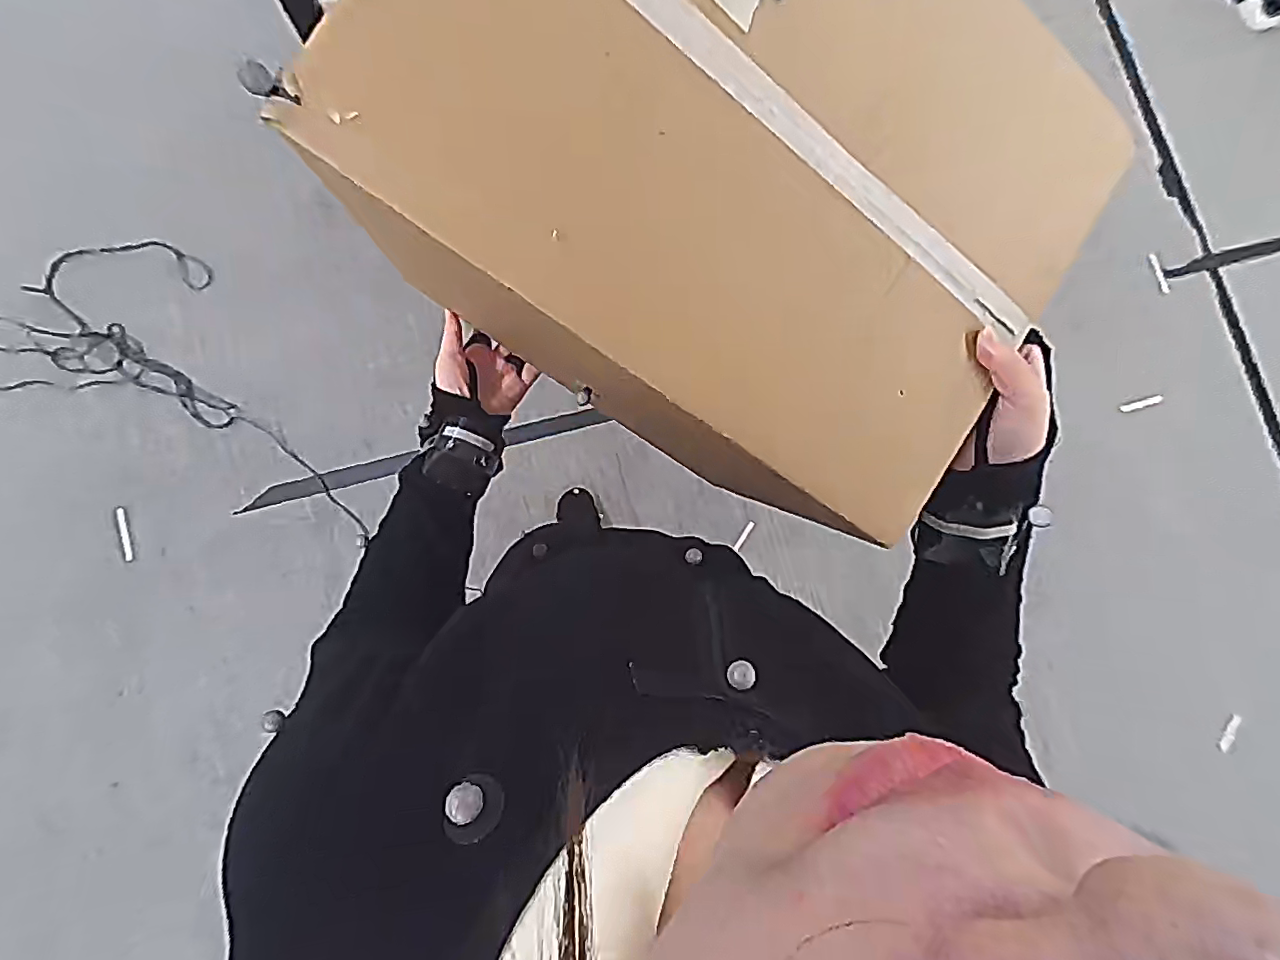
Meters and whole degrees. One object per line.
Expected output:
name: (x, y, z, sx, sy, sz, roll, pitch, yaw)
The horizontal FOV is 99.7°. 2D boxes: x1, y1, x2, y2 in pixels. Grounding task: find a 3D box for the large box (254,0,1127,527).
large box: (0.036, -0.211, 0.436, 0.408, 0.320, 0.320, 31, 88, -14)
